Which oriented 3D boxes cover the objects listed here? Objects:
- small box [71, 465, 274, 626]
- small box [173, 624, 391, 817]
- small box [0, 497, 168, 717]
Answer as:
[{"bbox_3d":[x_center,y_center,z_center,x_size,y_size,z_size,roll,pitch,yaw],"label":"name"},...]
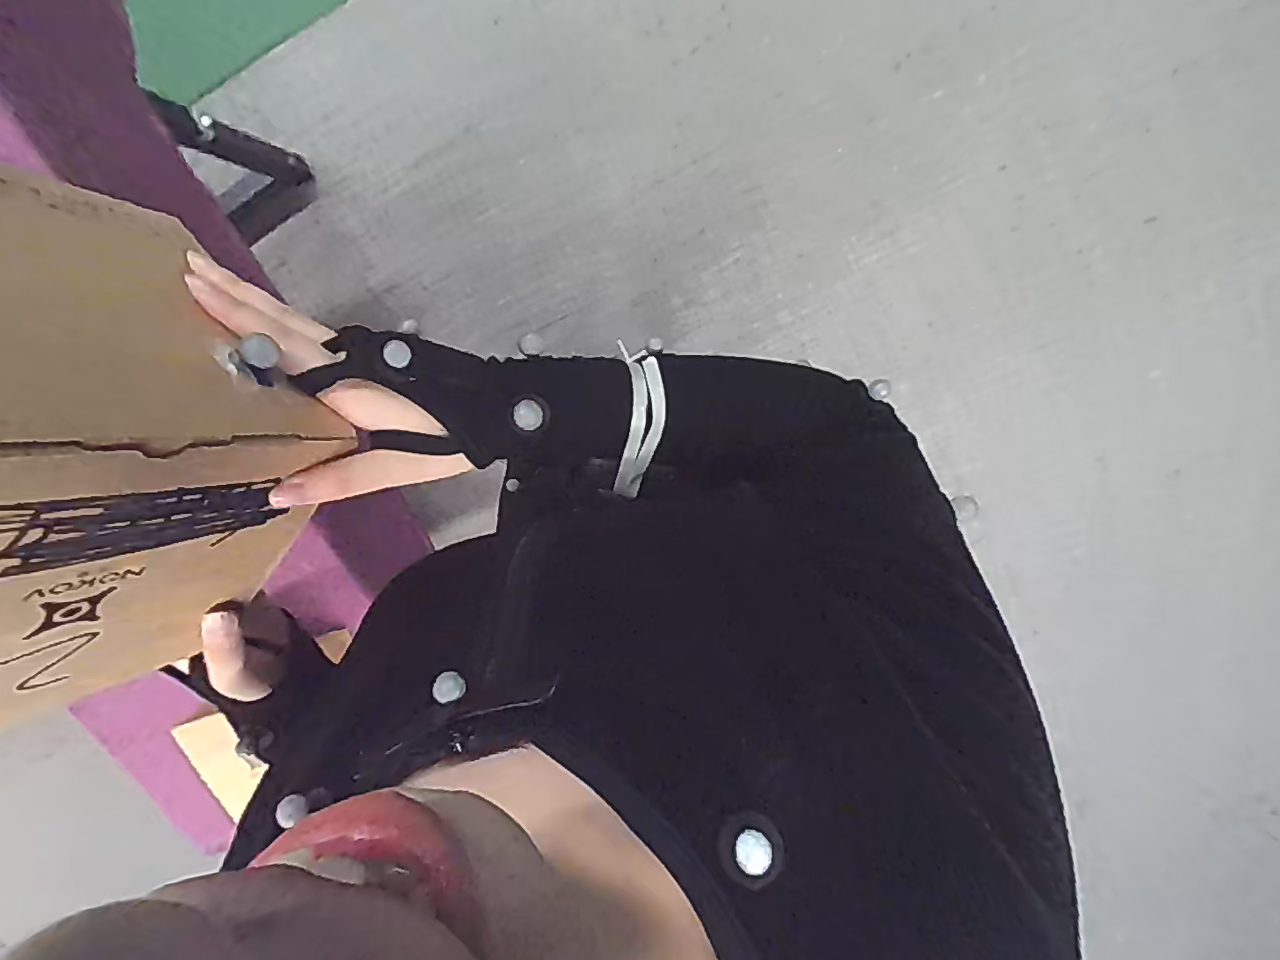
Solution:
[{"bbox_3d":[-0.656,0.093,0.729,0.168,0.176,0.179,-24,104,11],"label":"small box"},{"bbox_3d":[-0.506,0.345,0.796,0.168,0.176,0.179,-20,104,9],"label":"small box"},{"bbox_3d":[-0.674,0.144,0.573,0.168,0.176,0.179,-27,102,11],"label":"small box"}]
